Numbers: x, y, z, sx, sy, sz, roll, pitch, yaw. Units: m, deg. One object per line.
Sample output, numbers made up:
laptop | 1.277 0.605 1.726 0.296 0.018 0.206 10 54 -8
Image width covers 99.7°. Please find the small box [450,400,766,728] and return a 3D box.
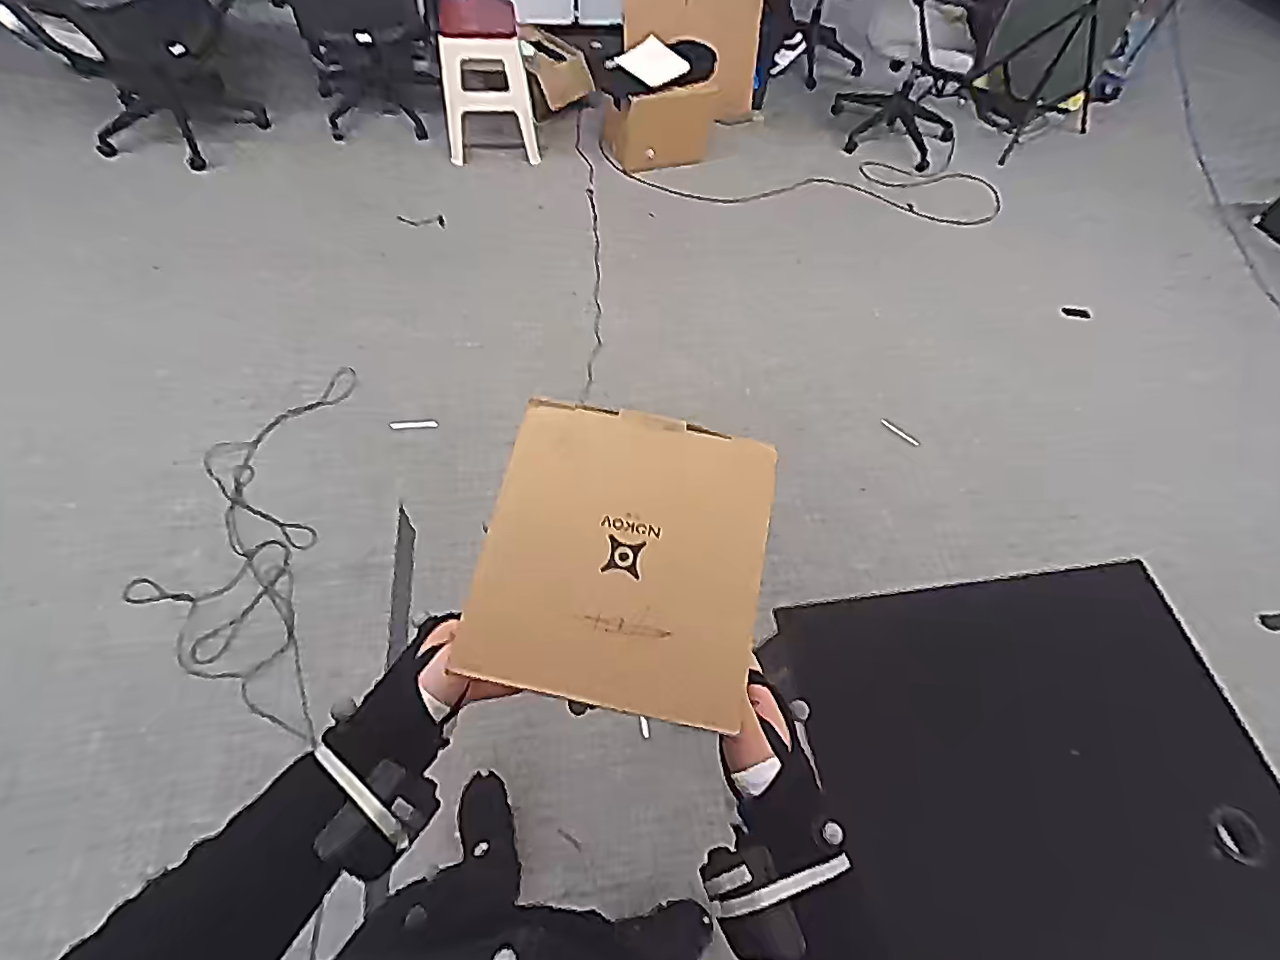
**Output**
small box | -0.016 0.067 0.403 0.168 0.176 0.179 11 72 2
